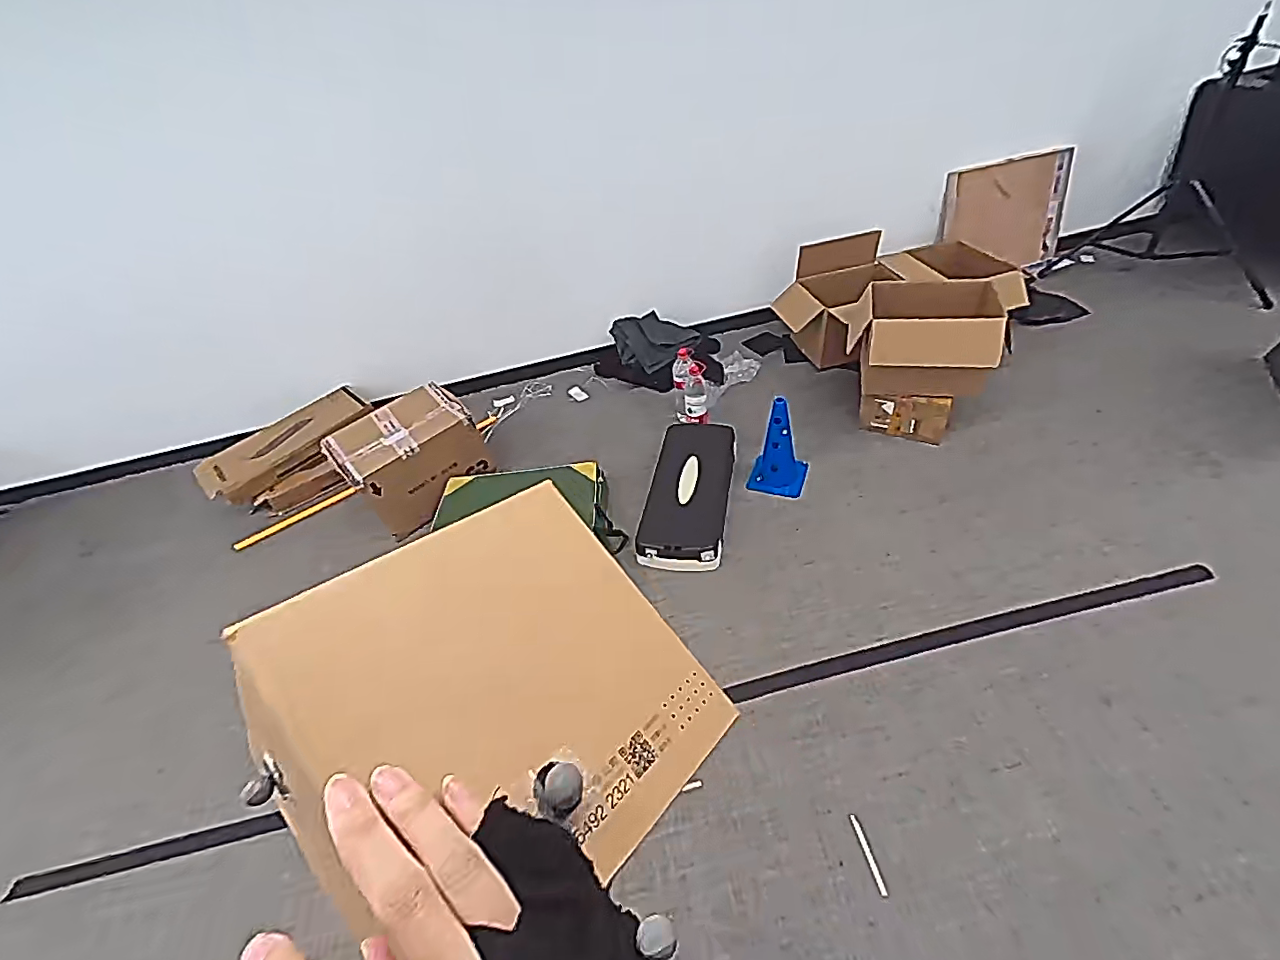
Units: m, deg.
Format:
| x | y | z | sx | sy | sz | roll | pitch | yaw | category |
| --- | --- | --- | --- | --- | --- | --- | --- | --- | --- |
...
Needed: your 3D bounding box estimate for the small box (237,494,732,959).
| x | y | z | sx | sy | sz | roll | pitch | yaw | category |
| --- | --- | --- | --- | --- | --- | --- | --- | --- | --- |
| -0.085 | 0.145 | 0.301 | 0.176 | 0.179 | 0.168 | 49 | 45 | 12 | small box |
